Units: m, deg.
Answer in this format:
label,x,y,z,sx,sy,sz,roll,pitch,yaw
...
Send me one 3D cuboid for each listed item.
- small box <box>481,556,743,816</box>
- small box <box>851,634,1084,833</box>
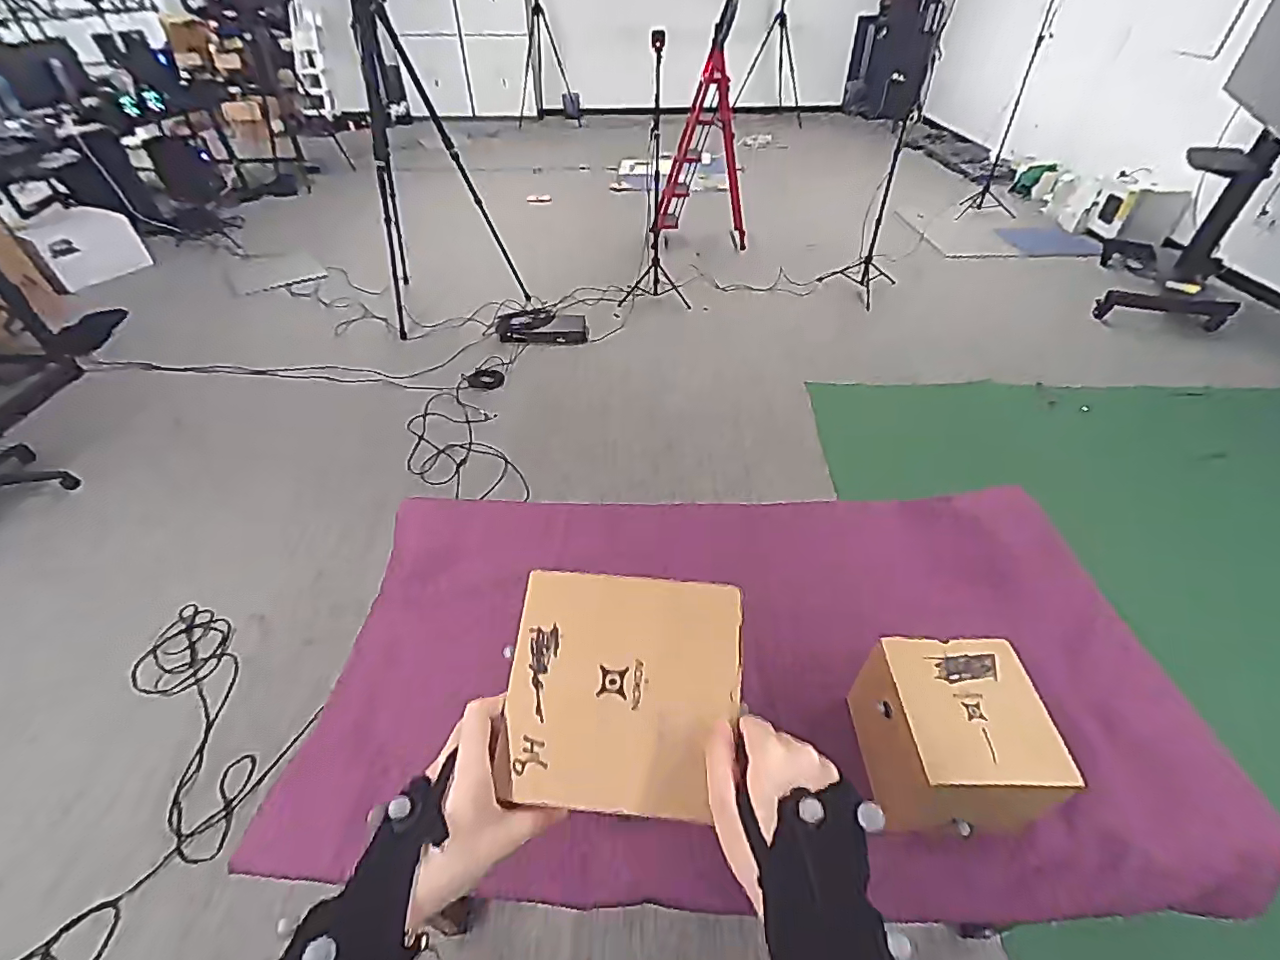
label,x,y,z,sx,sy,sz,roll,pitch,yaw
small box,-0.012,0.178,0.467,0.179,0.176,0.168,5,62,4
small box,0.382,0.315,0.676,0.168,0.176,0.179,0,43,1
